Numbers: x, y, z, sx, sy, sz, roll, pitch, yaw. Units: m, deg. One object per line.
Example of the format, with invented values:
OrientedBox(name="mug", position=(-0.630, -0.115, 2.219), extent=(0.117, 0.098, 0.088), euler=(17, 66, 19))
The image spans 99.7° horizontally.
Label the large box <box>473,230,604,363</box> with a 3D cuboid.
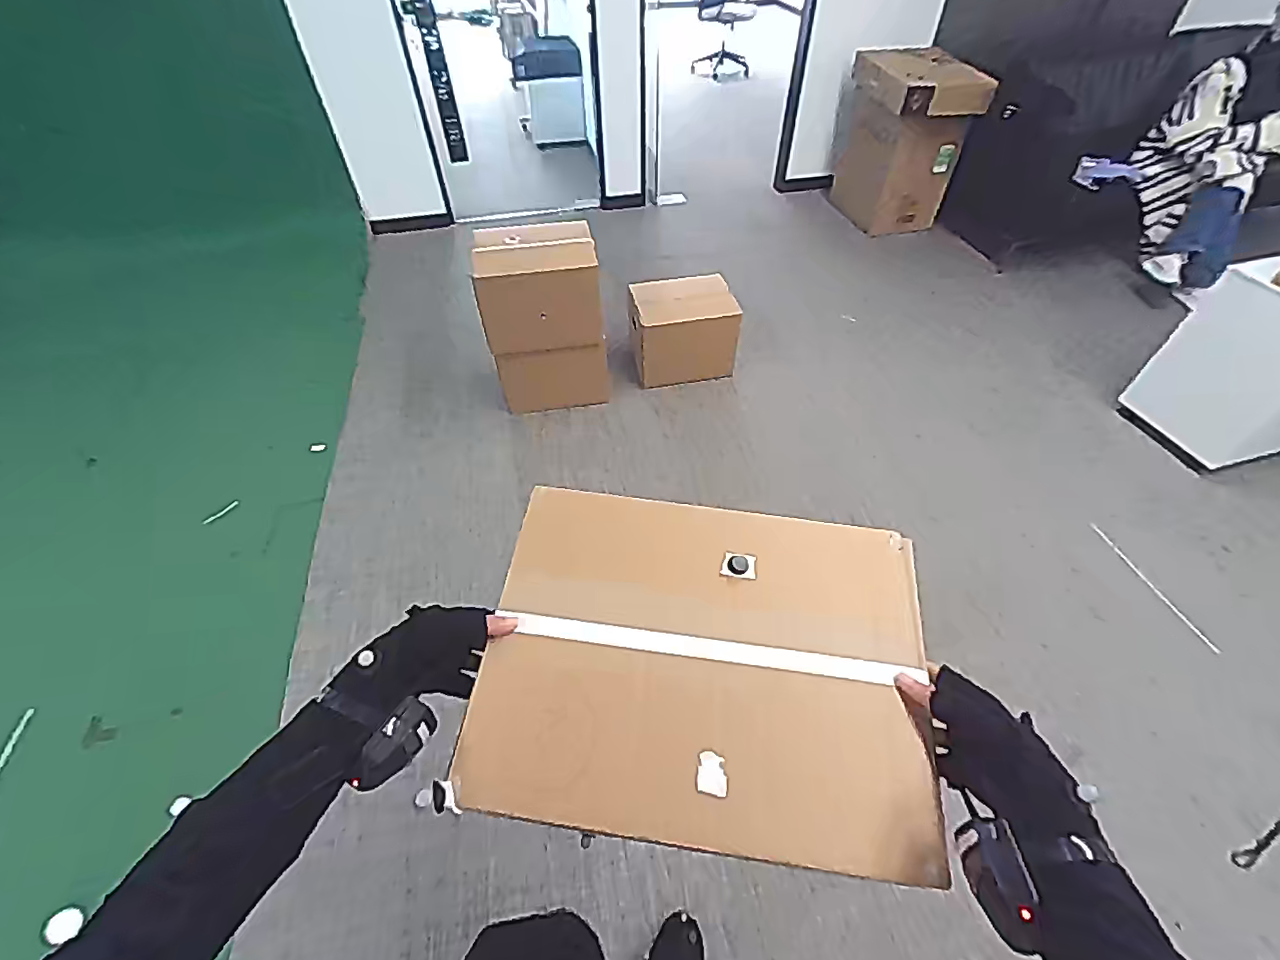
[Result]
OrientedBox(name="large box", position=(-0.354, -0.653, 1.927), extent=(0.408, 0.320, 0.320), euler=(-8, 51, -6))
